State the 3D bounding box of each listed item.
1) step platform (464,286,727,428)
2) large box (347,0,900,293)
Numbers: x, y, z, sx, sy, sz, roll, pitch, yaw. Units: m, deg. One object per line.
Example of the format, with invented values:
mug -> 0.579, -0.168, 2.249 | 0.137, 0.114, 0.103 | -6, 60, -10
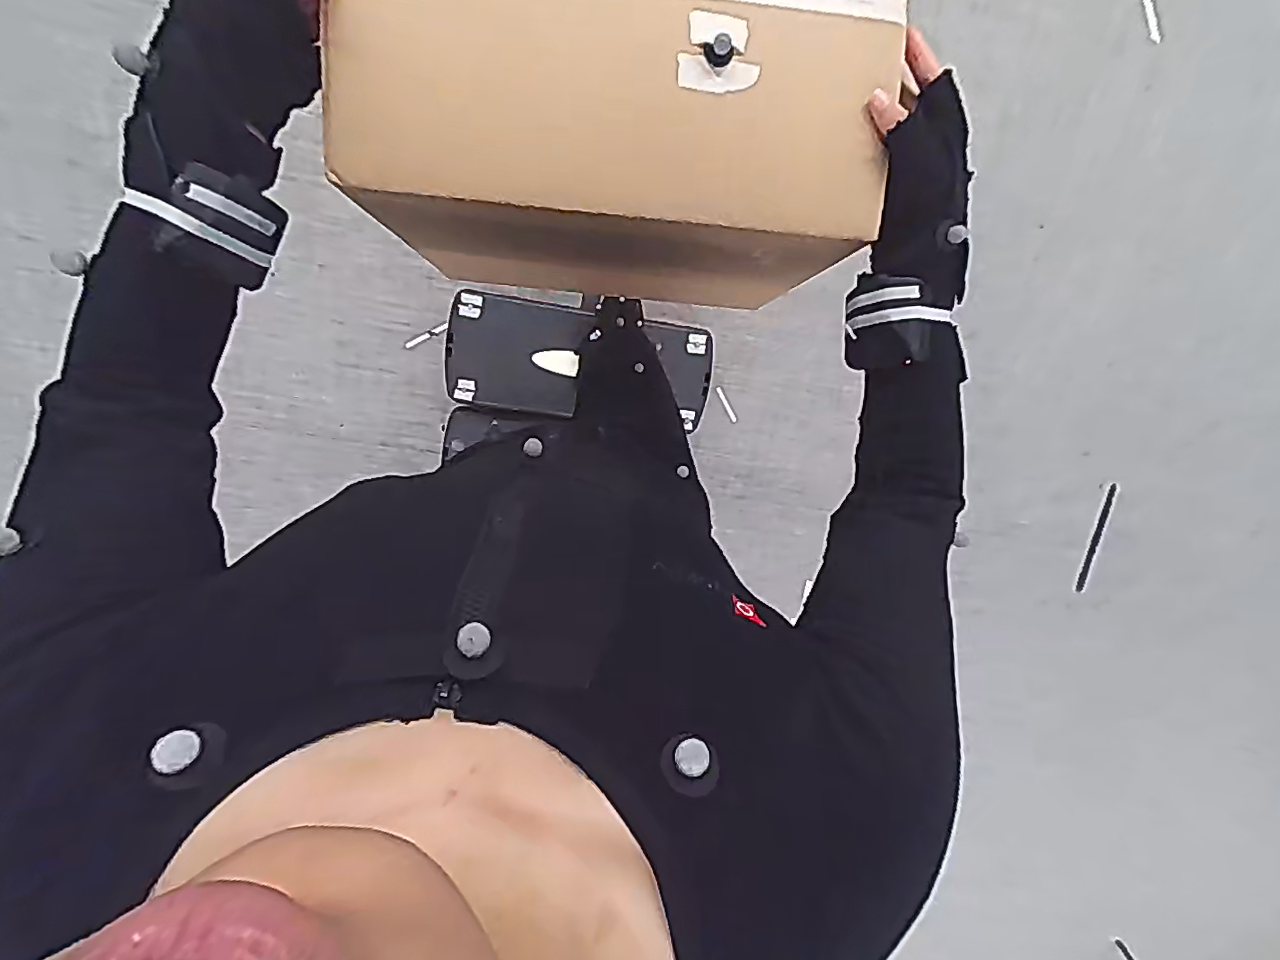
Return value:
step platform -> -0.115, -0.321, 1.453 | 0.684, 0.204, 0.286 | 7, 102, -9
large box -> -0.017, -0.384, 0.532 | 0.408, 0.320, 0.320 | 3, 99, -6
